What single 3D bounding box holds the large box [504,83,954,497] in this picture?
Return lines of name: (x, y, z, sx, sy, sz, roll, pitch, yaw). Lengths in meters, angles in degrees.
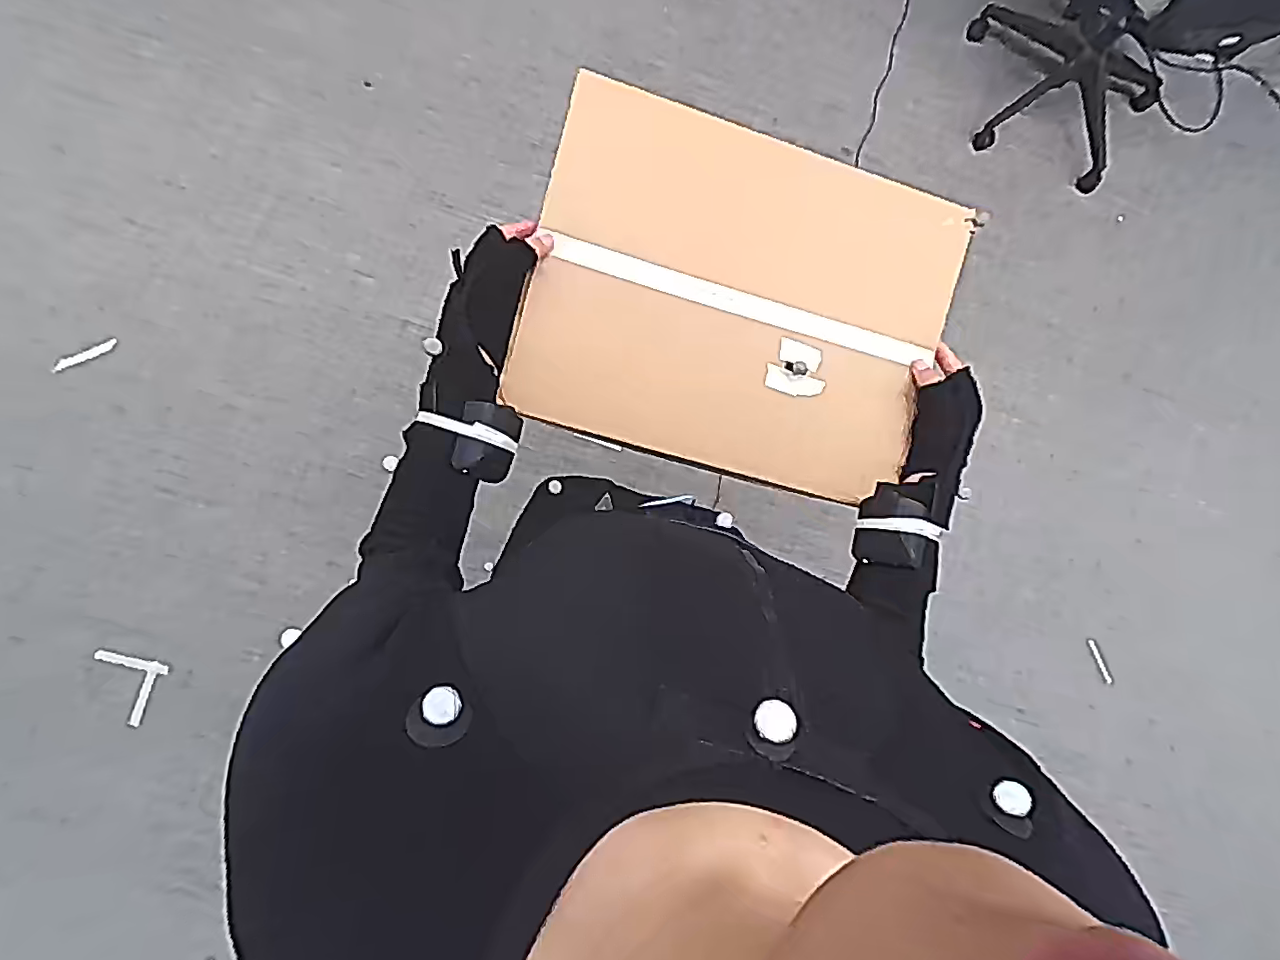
large box: (0.075, -0.185, 0.677, 0.408, 0.320, 0.320, 15, 93, -9)
